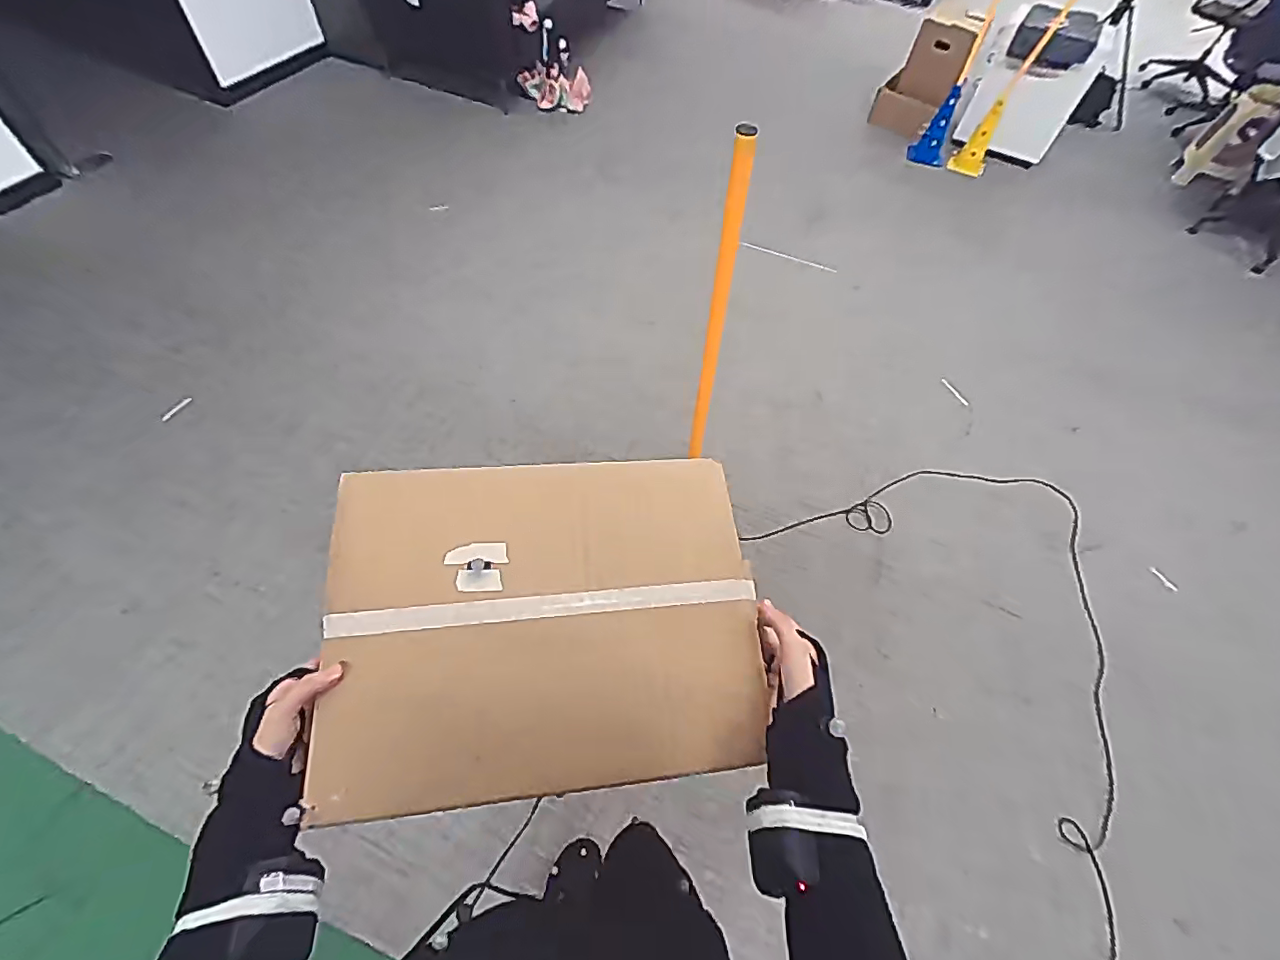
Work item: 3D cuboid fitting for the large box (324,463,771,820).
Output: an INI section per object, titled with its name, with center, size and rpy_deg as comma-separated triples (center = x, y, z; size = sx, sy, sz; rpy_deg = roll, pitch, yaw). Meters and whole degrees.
[large box]
center = -0.104, 0.191, 0.674
size = 0.408, 0.320, 0.320
rpy_deg = -3, 66, -9
